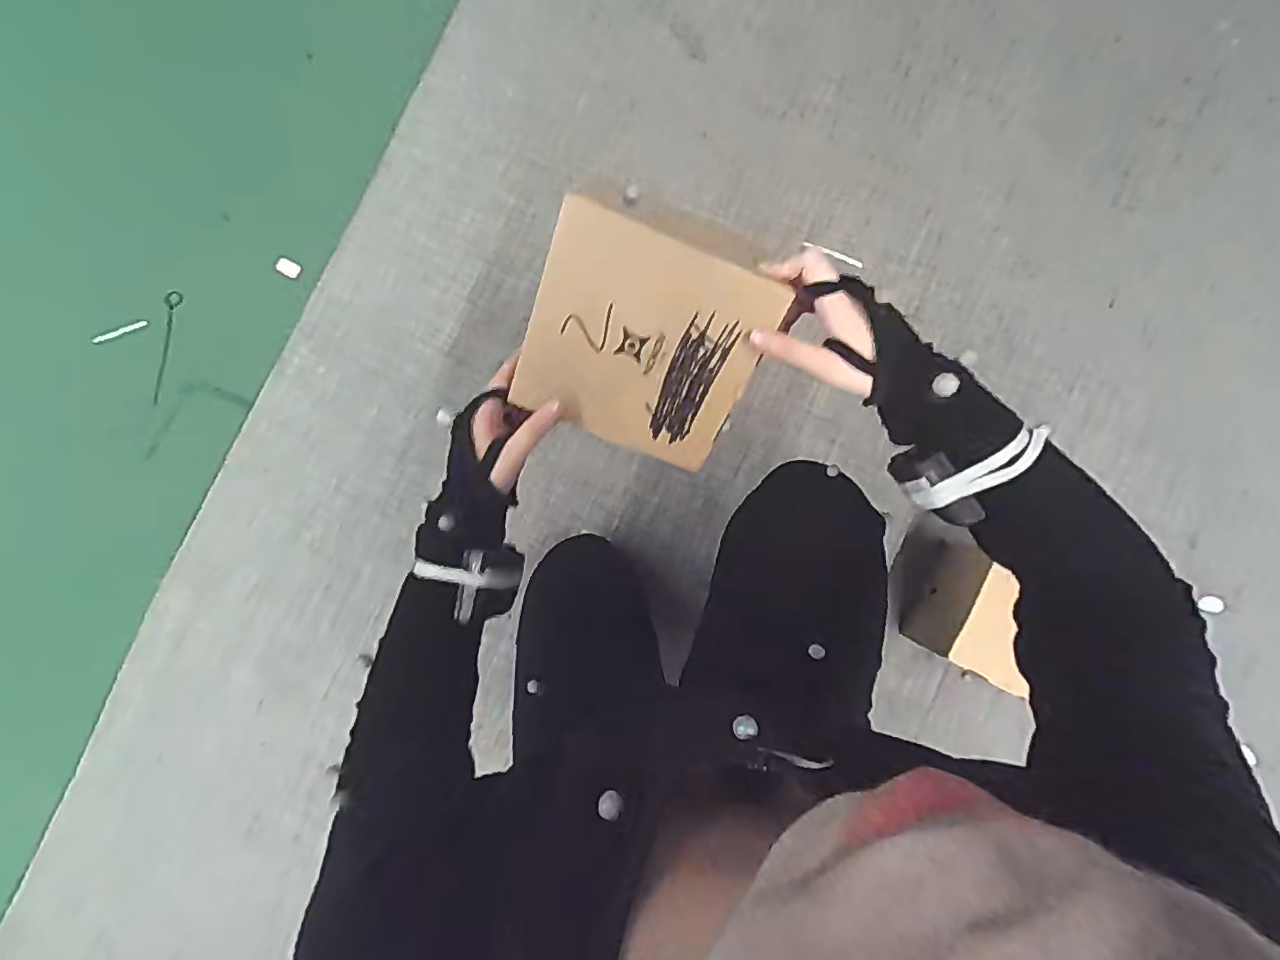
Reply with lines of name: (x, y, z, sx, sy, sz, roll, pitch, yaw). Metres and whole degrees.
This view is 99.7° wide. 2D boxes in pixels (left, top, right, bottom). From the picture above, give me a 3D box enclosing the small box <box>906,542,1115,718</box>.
small box: (0.524, 0.206, 0.799, 0.168, 0.176, 0.179, 28, 89, 7)
